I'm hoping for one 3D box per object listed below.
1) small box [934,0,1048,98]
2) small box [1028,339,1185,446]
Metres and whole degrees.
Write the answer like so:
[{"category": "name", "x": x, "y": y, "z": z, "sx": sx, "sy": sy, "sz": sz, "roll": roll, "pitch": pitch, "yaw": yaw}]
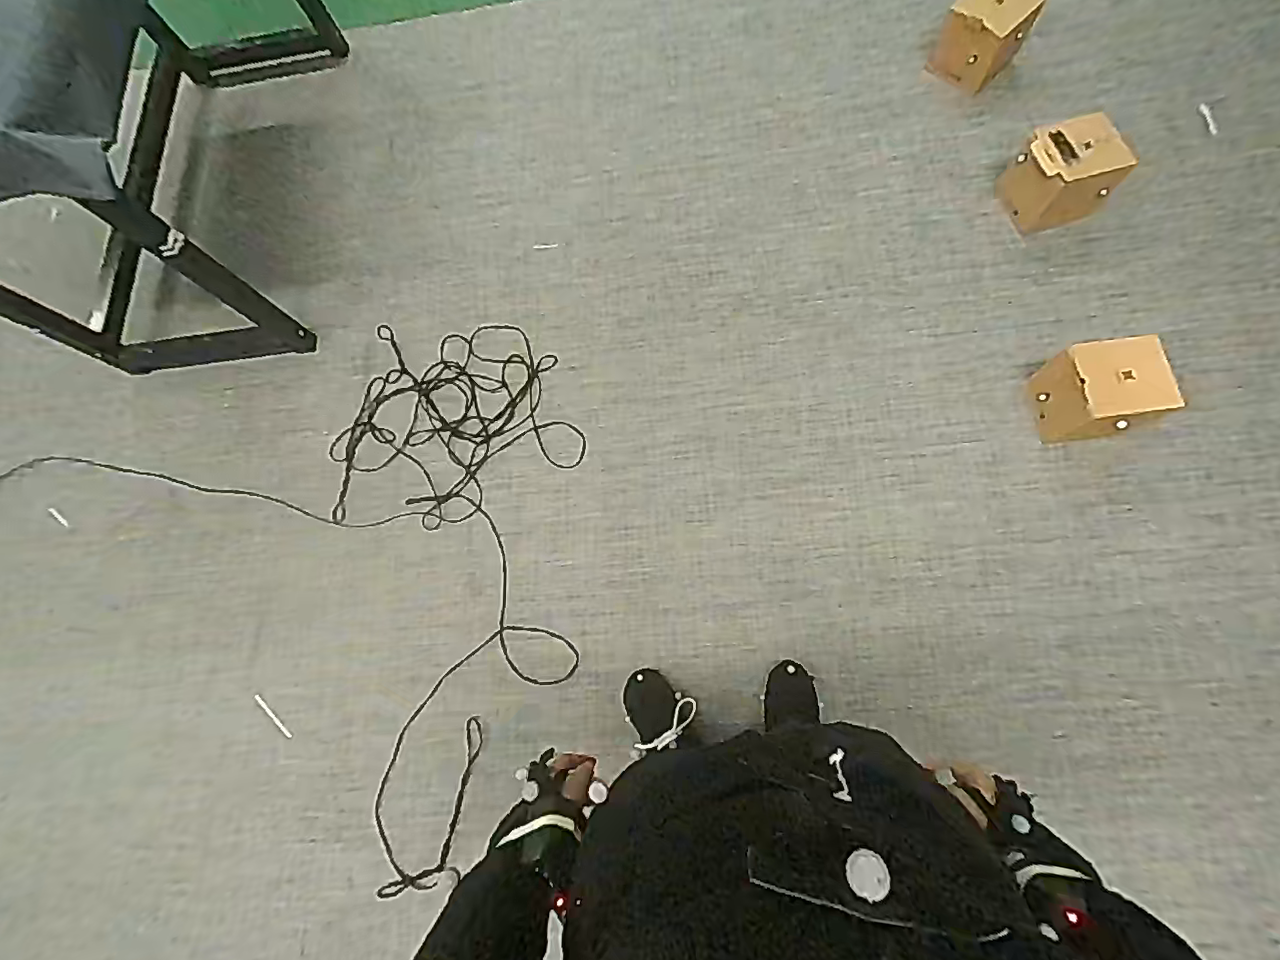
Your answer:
[{"category": "small box", "x": 0.936, "y": -1.193, "z": 1.468, "sx": 0.179, "sy": 0.176, "sz": 0.168, "roll": -43, "pitch": 75, "yaw": -7}, {"category": "small box", "x": 0.999, "y": -0.183, "z": 1.175, "sx": 0.179, "sy": 0.176, "sz": 0.168, "roll": -7, "pitch": 74, "yaw": 5}]
